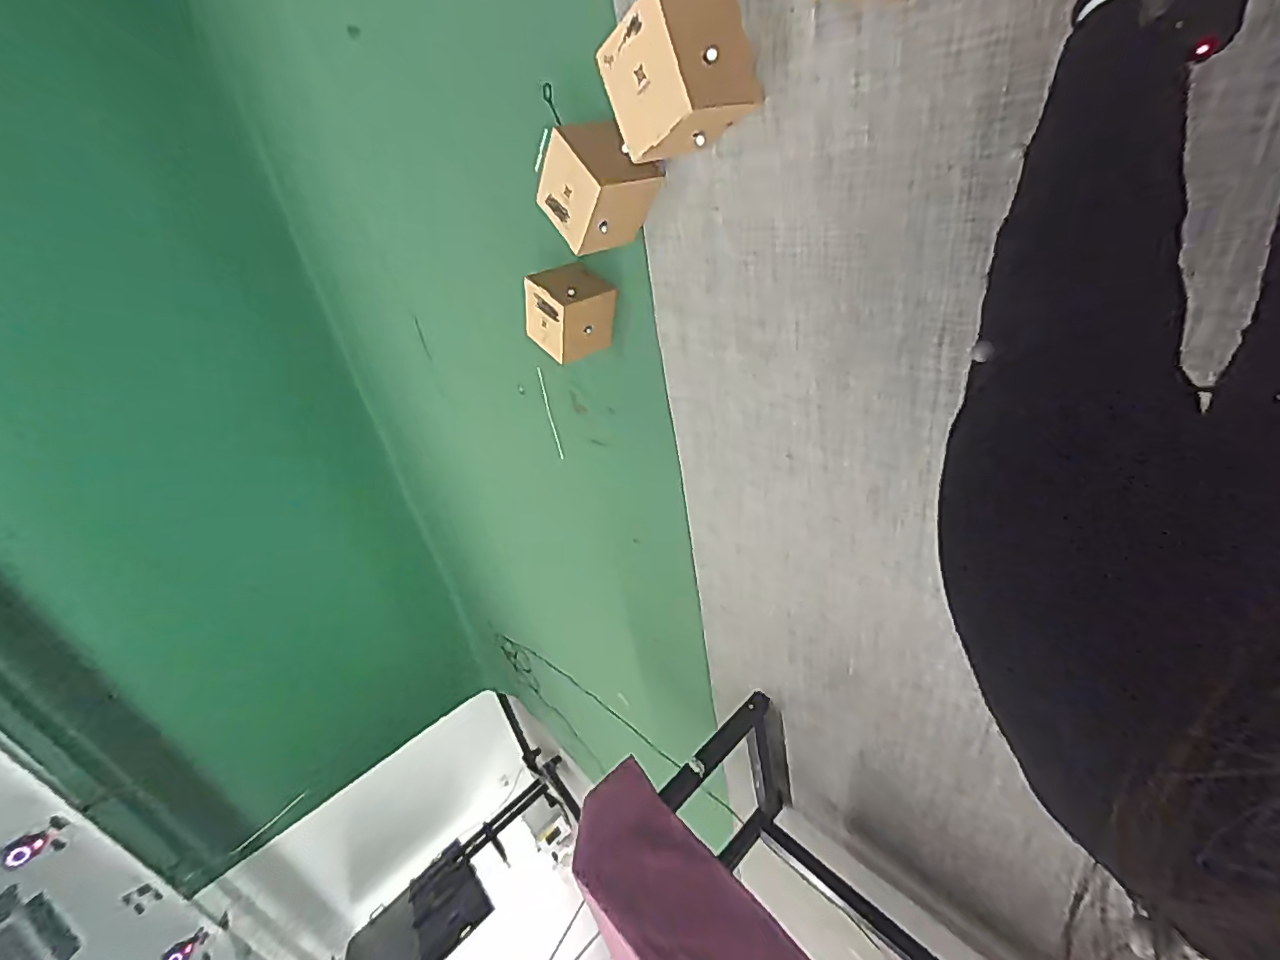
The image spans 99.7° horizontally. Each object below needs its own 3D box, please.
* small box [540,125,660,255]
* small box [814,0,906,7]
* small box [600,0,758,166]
[{"bbox_3d":[-0.084,-0.616,1.149,0.168,0.176,0.179,55,148,8],"label":"small box"},{"bbox_3d":[0.305,-0.638,0.575,0.179,0.176,0.168,20,131,45],"label":"small box"},{"bbox_3d":[0.069,-0.659,0.895,0.168,0.176,0.179,0,116,55],"label":"small box"}]
